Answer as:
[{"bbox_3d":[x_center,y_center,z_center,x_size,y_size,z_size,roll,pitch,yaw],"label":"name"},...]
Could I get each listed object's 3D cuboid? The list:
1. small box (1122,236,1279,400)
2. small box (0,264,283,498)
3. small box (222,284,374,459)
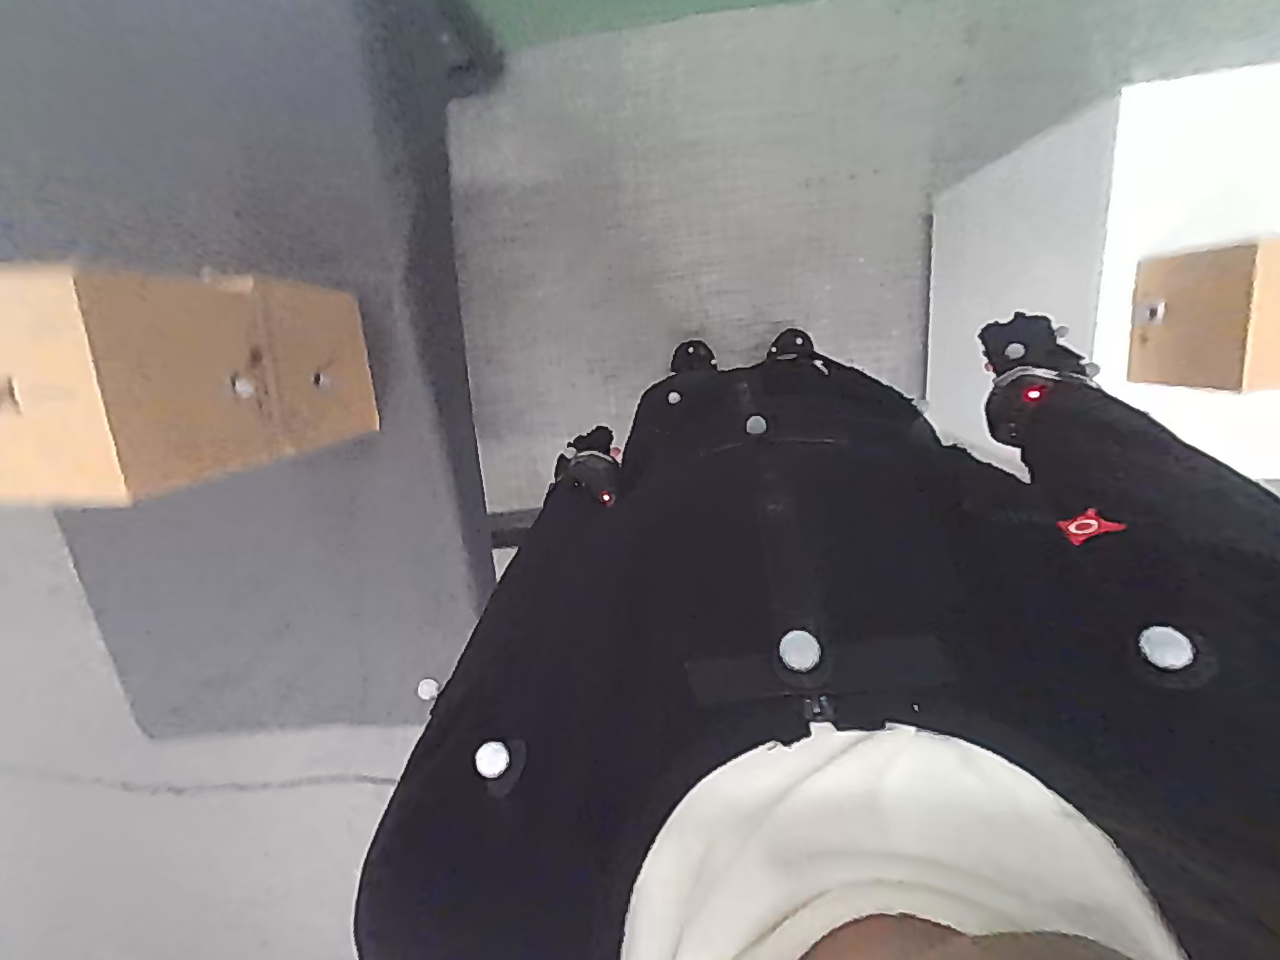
[{"bbox_3d":[0.721,-0.194,0.627,0.179,0.176,0.168,-7,103,9],"label":"small box"},{"bbox_3d":[-0.463,-0.085,0.472,0.179,0.176,0.168,-2,104,9],"label":"small box"},{"bbox_3d":[-0.440,-0.127,0.630,0.168,0.176,0.179,-2,105,7],"label":"small box"}]
